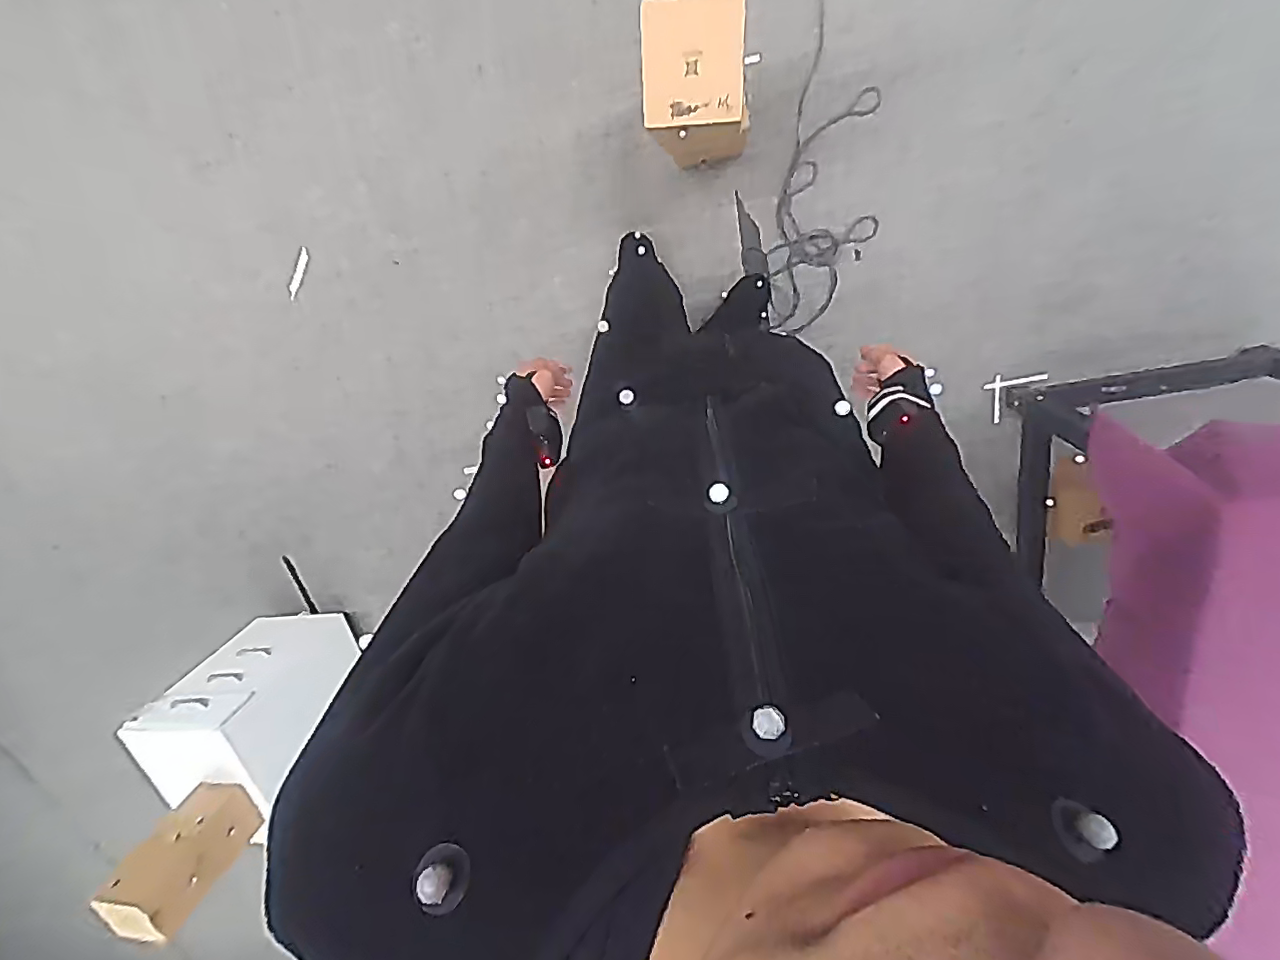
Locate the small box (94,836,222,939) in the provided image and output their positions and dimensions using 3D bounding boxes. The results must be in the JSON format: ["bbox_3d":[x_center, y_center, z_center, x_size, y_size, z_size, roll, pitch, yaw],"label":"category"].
[{"bbox_3d":[-1.332,1.127,1.508,0.179,0.176,0.168,-4,114,12],"label":"small box"}]

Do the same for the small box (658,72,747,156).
[{"bbox_3d":[0.121,-0.770,1.088,0.179,0.176,0.168,-5,112,12],"label":"small box"}]

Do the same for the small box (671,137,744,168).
[{"bbox_3d":[0.145,-0.836,1.235,0.168,0.176,0.179,-7,113,13],"label":"small box"}]

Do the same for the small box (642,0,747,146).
[{"bbox_3d":[0.095,-0.703,0.941,0.168,0.176,0.179,2,113,9],"label":"small box"}]
